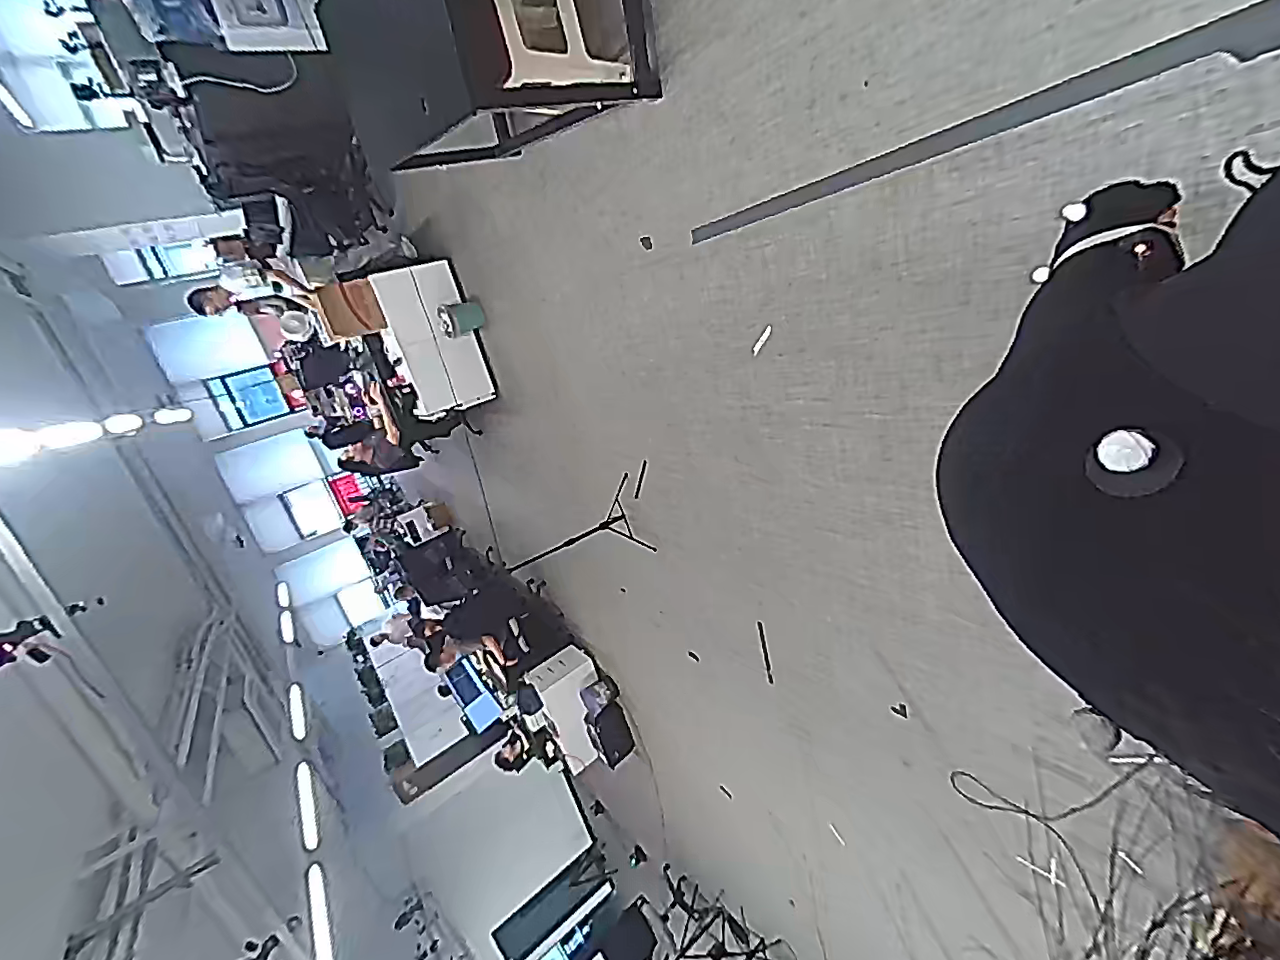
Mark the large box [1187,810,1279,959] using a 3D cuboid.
[{"bbox_3d":[1.564,1.063,1.204,0.408,0.320,0.320,21,130,49],"label":"large box"}]
